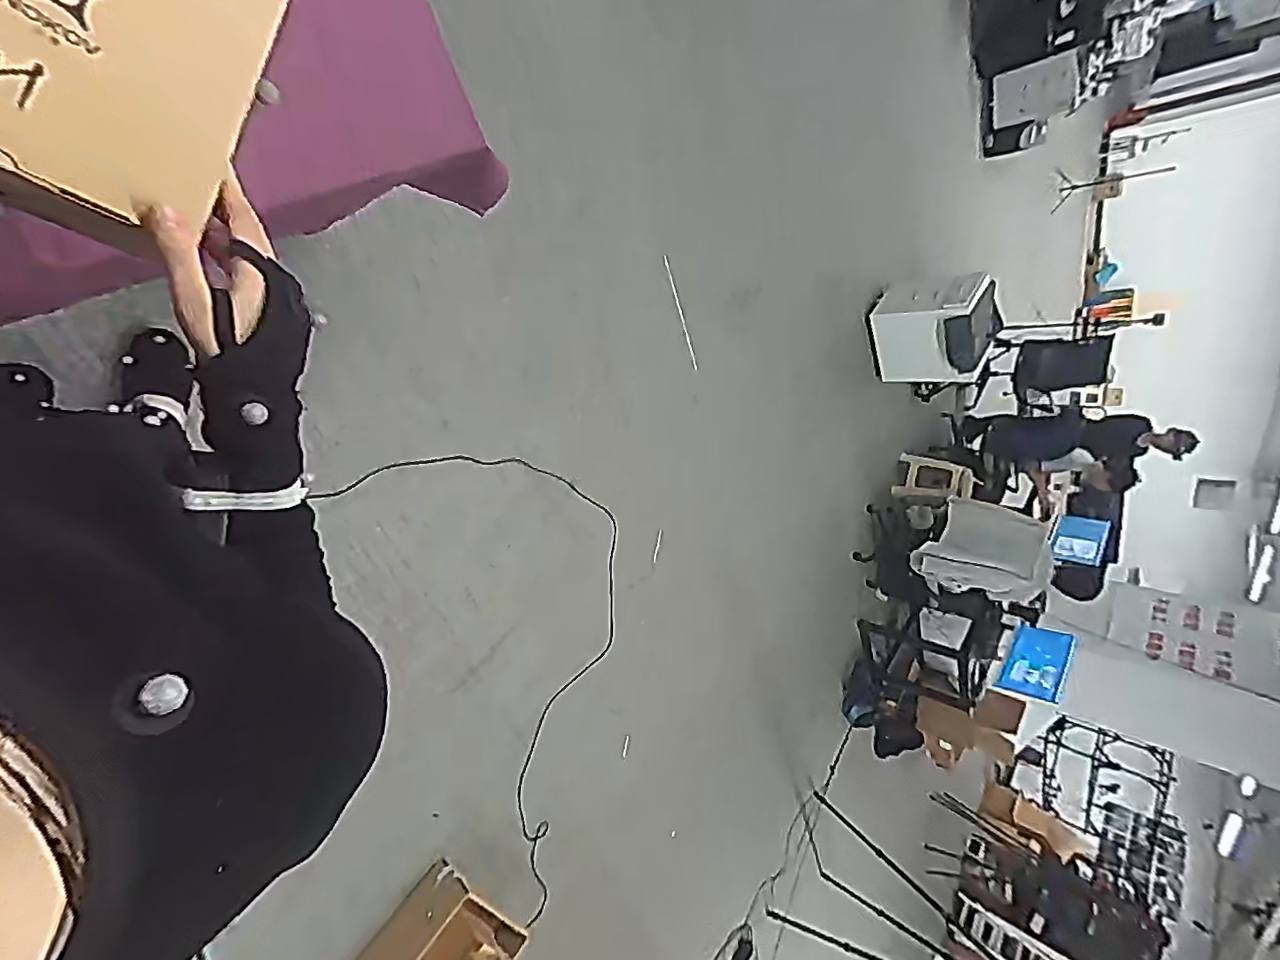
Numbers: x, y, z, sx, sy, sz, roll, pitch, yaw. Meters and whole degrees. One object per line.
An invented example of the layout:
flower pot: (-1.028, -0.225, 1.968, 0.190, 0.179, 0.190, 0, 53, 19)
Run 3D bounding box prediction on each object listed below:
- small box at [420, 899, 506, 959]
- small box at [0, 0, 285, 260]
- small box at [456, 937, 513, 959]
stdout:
small box: (-0.576, 1.516, 1.750, 0.179, 0.176, 0.168, -44, 125, -28)
small box: (-0.360, -0.258, 0.330, 0.168, 0.176, 0.179, 22, 87, -49)
small box: (-0.476, 1.530, 1.621, 0.168, 0.176, 0.179, 47, 66, -38)
